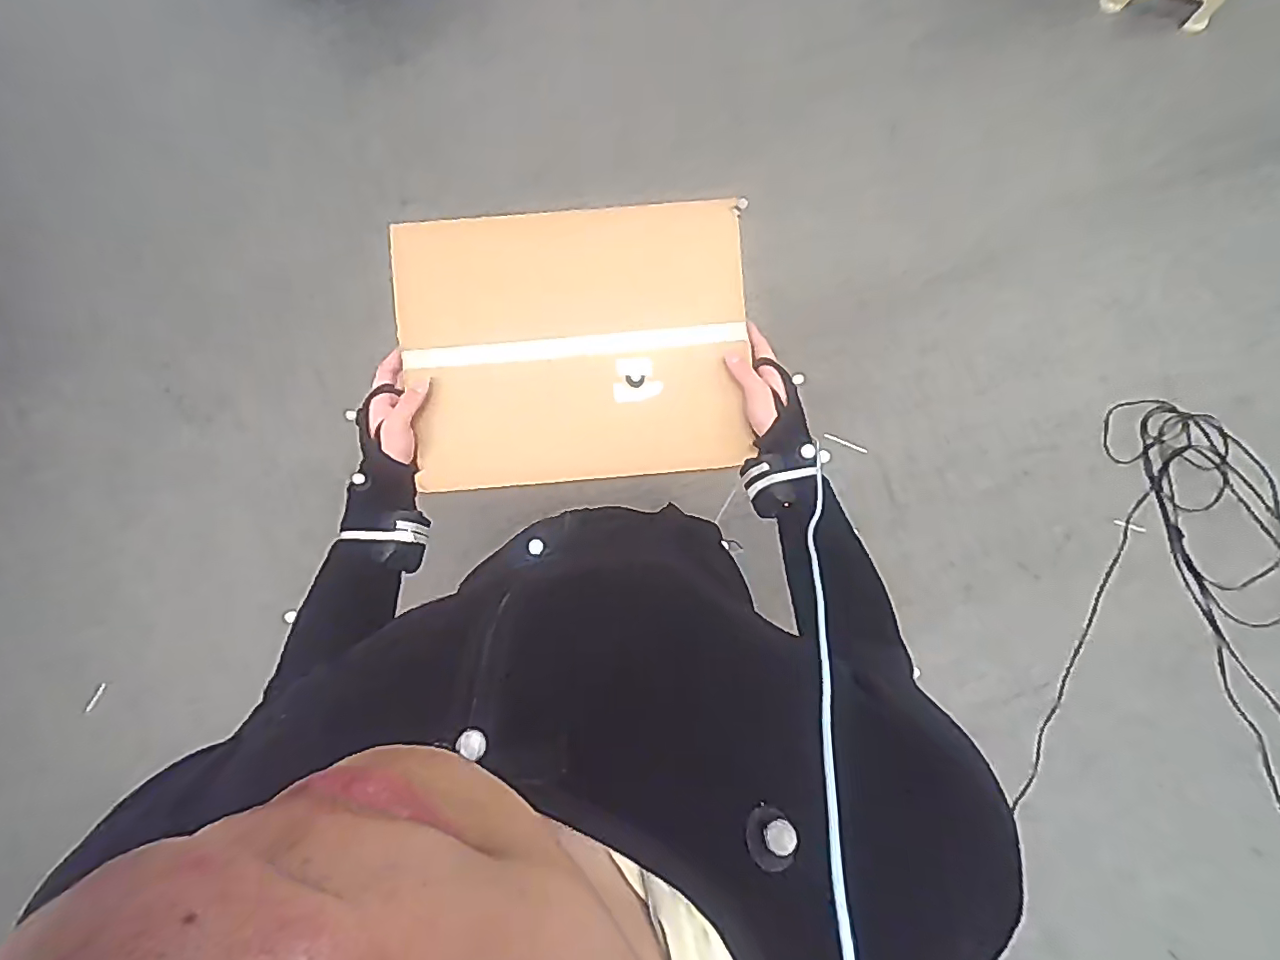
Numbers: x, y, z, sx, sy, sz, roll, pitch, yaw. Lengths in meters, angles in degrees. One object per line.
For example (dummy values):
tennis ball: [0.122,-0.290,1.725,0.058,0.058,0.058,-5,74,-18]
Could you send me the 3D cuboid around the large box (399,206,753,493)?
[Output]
large box: [-0.079,-0.160,0.794,0.408,0.320,0.320,-5,92,-1]
